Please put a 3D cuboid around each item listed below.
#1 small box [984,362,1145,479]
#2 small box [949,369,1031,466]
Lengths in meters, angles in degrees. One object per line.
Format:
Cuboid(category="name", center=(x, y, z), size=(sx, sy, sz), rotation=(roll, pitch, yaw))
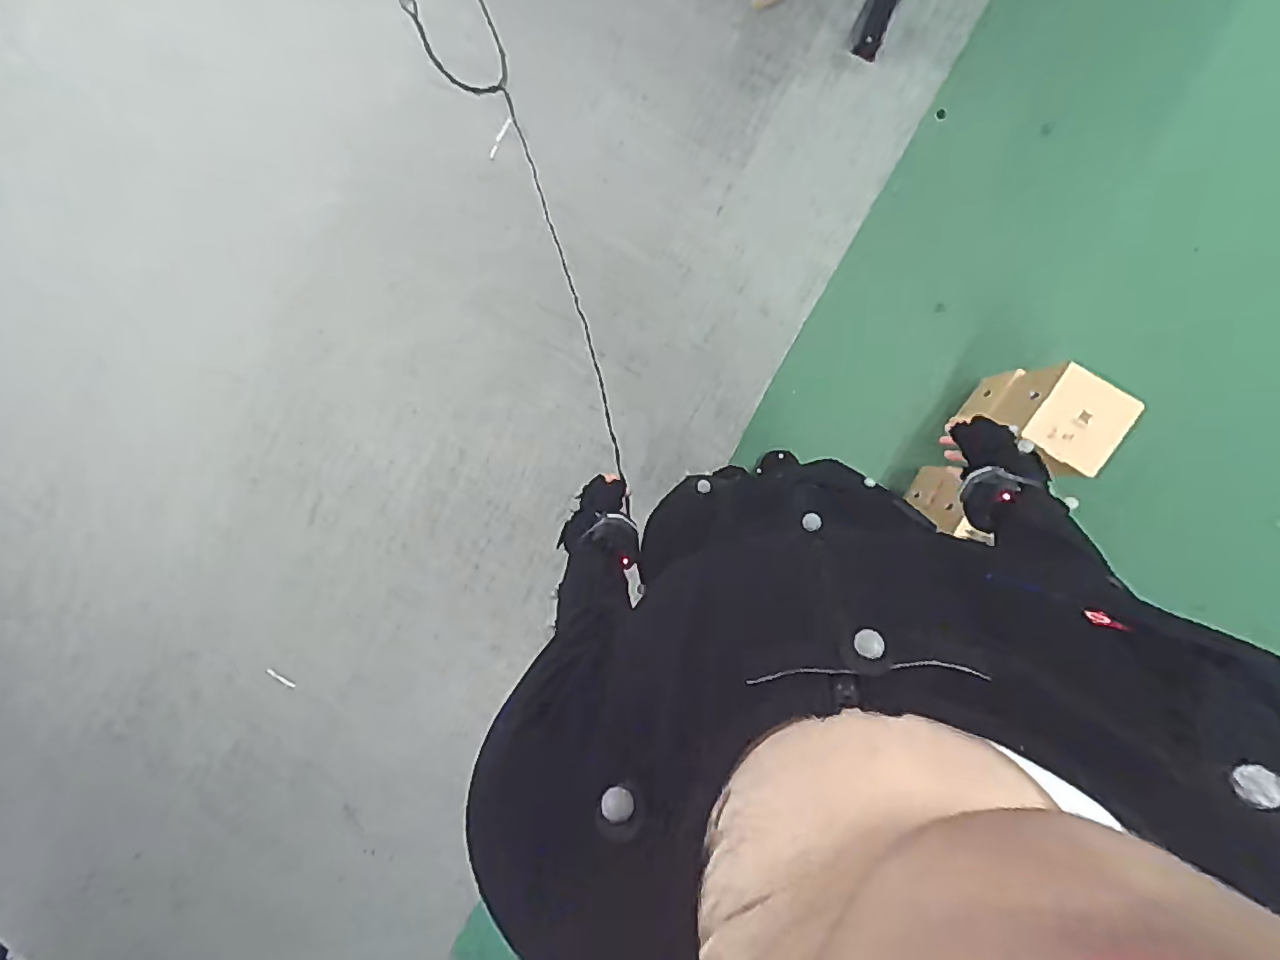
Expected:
Cuboid(category="small box", center=(0.879, -0.121, 1.143), size=(0.168, 0.176, 0.179), rotation=(34, 96, 4))
Cuboid(category="small box", center=(0.895, -0.141, 1.307), size=(0.179, 0.176, 0.168), rotation=(35, 96, 4))
